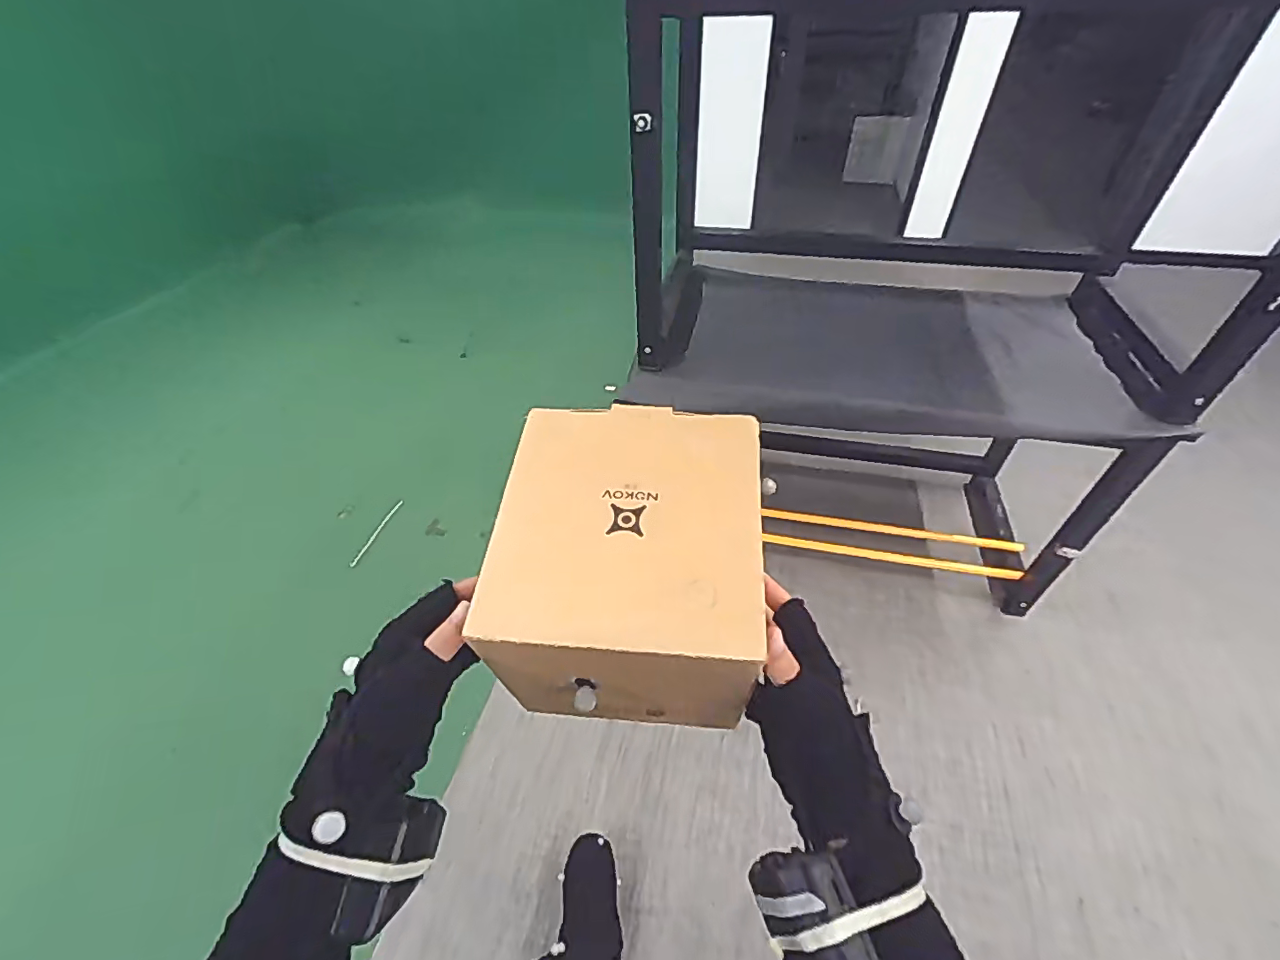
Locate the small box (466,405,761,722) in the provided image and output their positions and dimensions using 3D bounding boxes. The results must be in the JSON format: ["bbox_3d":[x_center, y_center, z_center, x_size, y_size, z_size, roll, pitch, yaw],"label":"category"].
[{"bbox_3d":[-0.003,0.066,0.401,0.168,0.176,0.179,3,53,5],"label":"small box"}]
